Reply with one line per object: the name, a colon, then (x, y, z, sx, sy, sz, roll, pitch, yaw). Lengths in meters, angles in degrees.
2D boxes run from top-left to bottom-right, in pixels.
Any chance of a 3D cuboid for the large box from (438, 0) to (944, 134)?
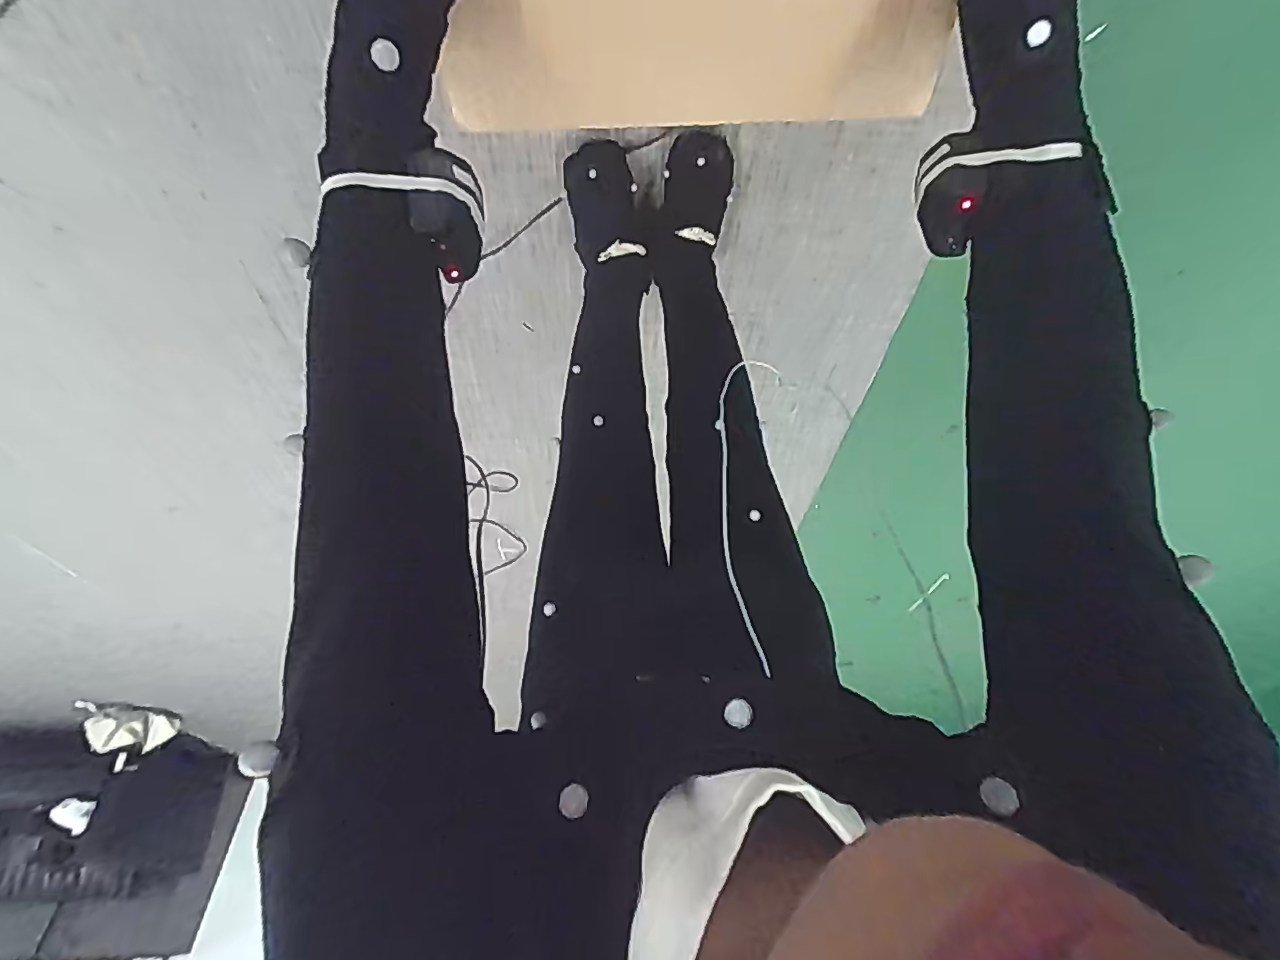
large box: (0.032, -0.531, 0.465, 0.408, 0.320, 0.320, -3, 139, 0)
